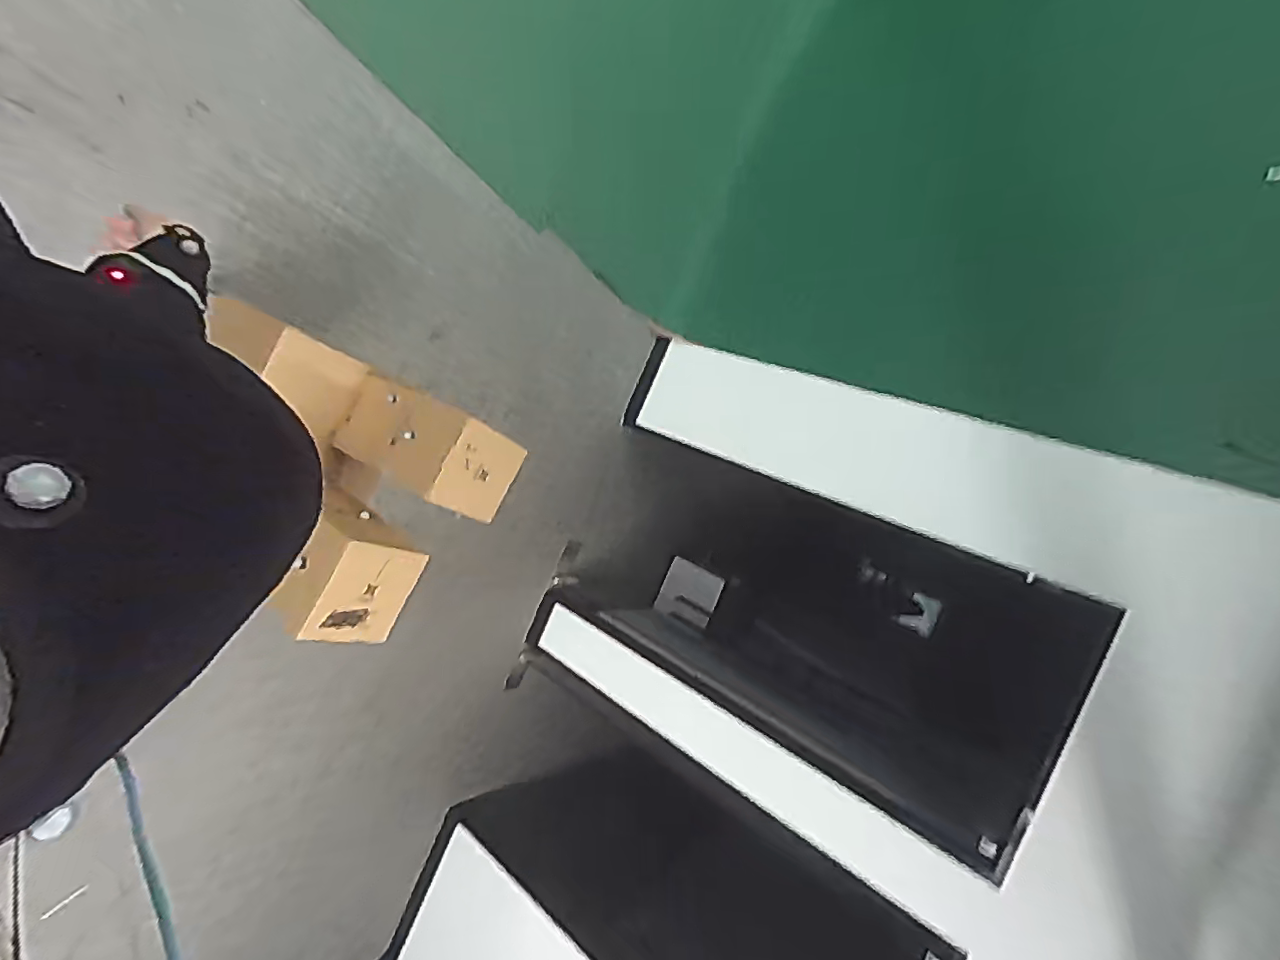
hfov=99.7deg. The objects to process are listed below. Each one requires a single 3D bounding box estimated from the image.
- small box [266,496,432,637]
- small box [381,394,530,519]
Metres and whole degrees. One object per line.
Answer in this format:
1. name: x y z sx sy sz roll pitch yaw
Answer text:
1. small box: -0.511 0.152 0.944 0.179 0.176 0.168 -63 149 -4
2. small box: -0.355 -0.047 1.049 0.168 0.176 0.179 -63 149 -6
